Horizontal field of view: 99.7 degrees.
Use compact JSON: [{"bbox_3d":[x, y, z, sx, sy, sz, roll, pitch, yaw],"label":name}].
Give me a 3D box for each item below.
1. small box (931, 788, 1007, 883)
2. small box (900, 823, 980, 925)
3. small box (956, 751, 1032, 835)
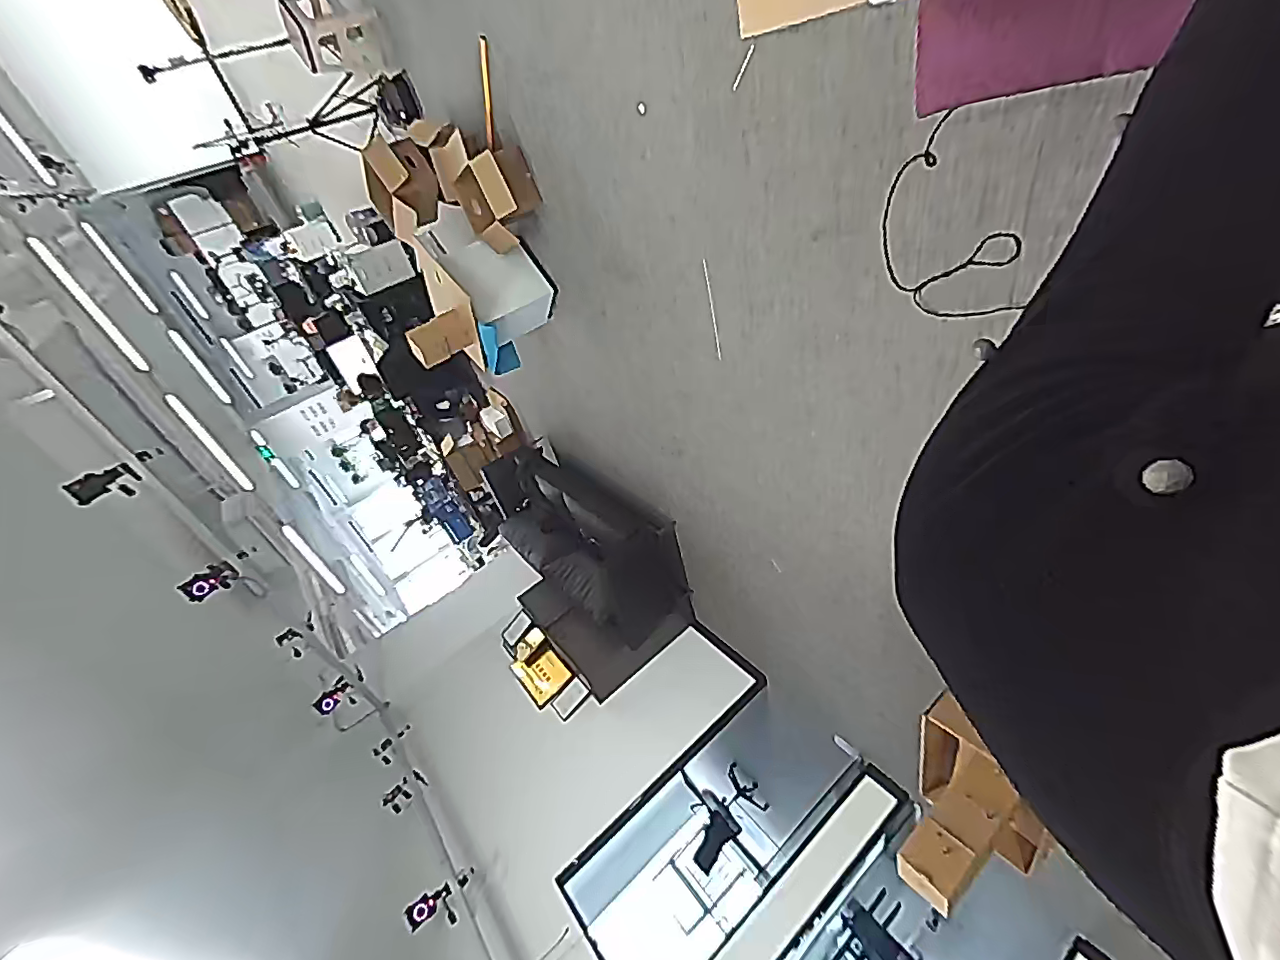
[{"bbox_3d":[1.078,1.162,1.779,0.168,0.176,0.179,27,147,48],"label":"small box"},{"bbox_3d":[0.954,1.246,1.718,0.168,0.176,0.179,27,145,49],"label":"small box"},{"bbox_3d":[1.201,1.072,1.841,0.168,0.176,0.179,28,147,46],"label":"small box"}]
